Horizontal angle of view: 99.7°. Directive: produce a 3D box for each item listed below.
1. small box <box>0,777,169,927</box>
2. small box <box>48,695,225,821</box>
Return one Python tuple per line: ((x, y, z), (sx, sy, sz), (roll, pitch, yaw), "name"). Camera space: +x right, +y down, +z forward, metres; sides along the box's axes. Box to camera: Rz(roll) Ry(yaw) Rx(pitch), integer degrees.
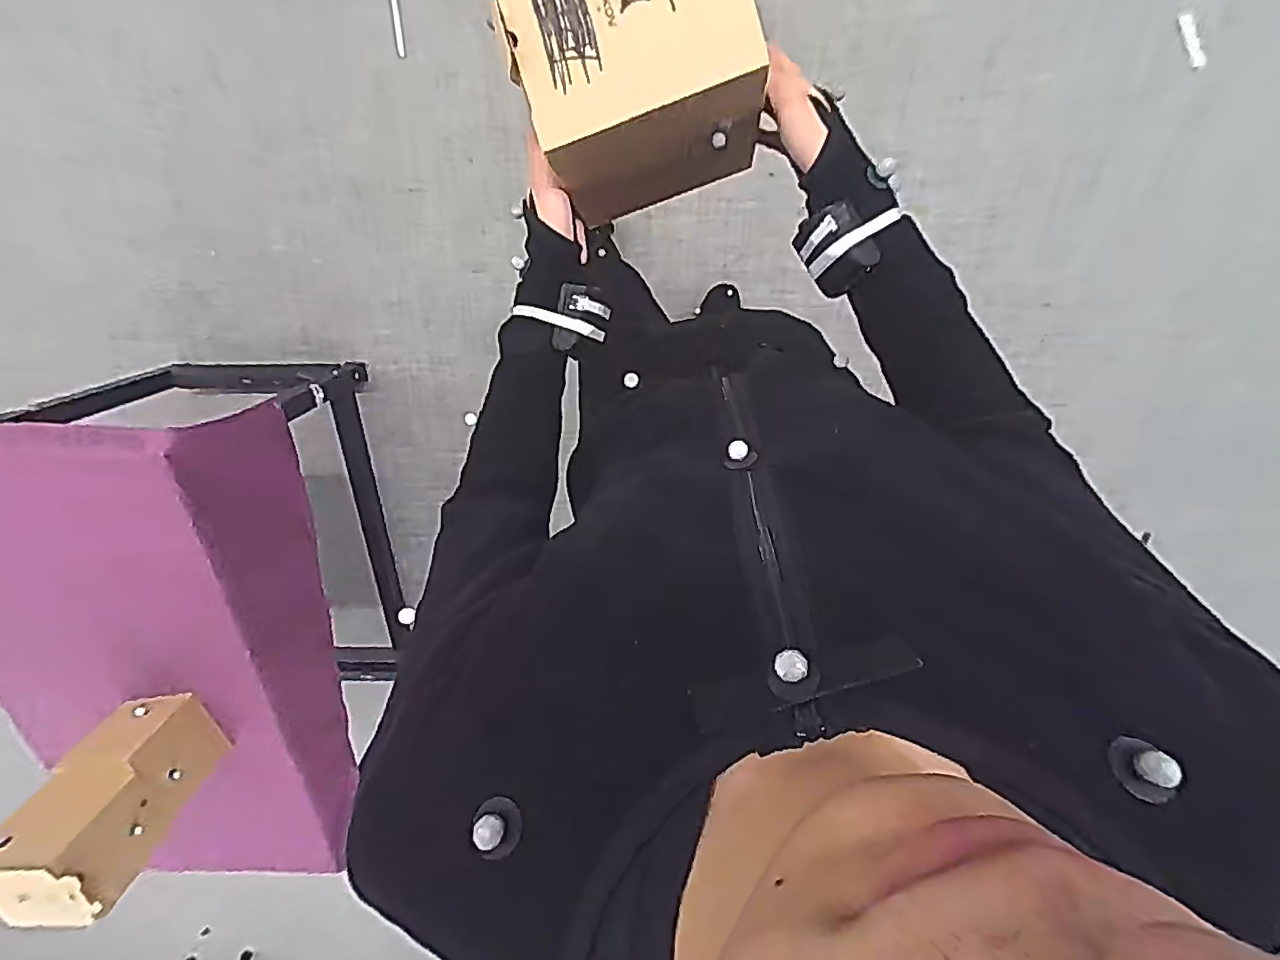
((-1.030, 0.668, 0.980), (0.179, 0.176, 0.168), (-4, 116, 3), "small box")
((-1.021, 0.577, 1.119), (0.168, 0.176, 0.179), (-9, 115, 5), "small box")
